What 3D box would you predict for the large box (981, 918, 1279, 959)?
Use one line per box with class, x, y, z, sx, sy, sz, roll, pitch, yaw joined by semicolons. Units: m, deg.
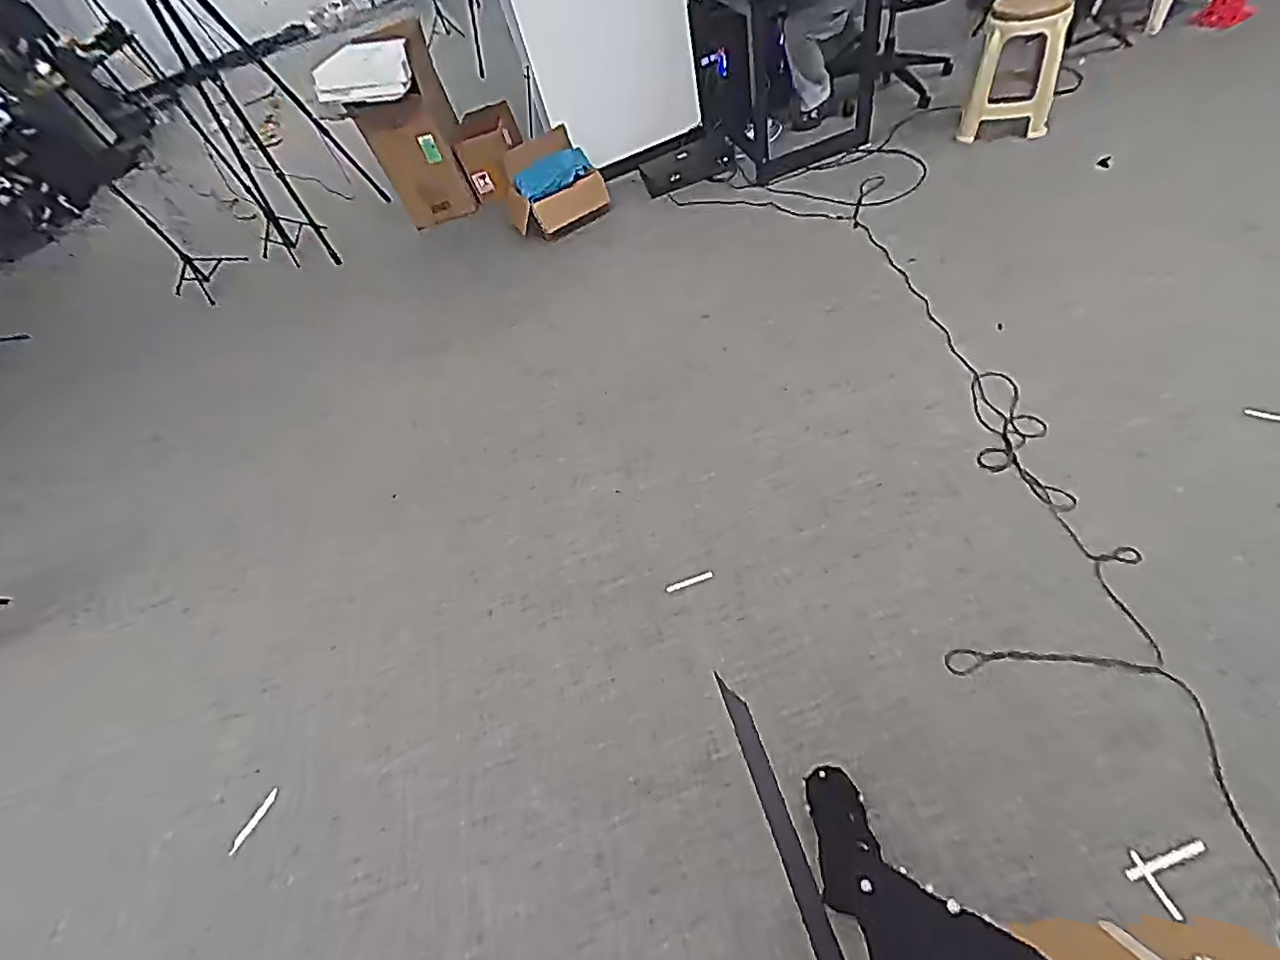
large box;0.621;0.708;0.529;0.320;0.408;0.320;-8;71;9
